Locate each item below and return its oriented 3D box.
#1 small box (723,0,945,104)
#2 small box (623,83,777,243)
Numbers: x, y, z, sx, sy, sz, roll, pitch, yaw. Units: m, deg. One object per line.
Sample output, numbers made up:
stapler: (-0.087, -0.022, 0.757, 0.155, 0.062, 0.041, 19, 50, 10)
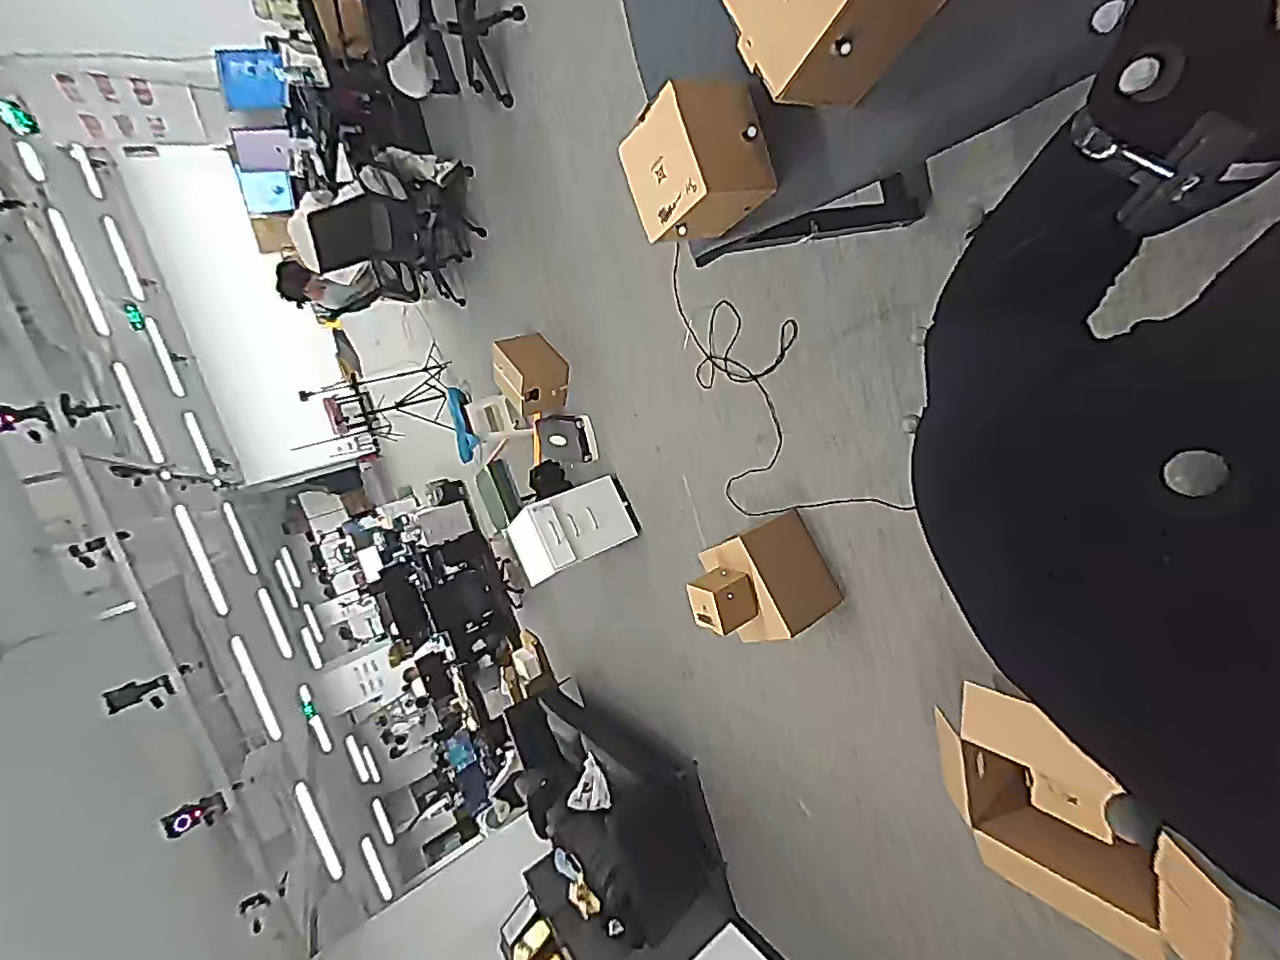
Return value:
small box: (0.241, -0.600, 0.664, 0.179, 0.176, 0.168, -34, 79, 58)
small box: (0.102, -0.530, 0.925, 0.168, 0.176, 0.179, -13, 97, 59)
